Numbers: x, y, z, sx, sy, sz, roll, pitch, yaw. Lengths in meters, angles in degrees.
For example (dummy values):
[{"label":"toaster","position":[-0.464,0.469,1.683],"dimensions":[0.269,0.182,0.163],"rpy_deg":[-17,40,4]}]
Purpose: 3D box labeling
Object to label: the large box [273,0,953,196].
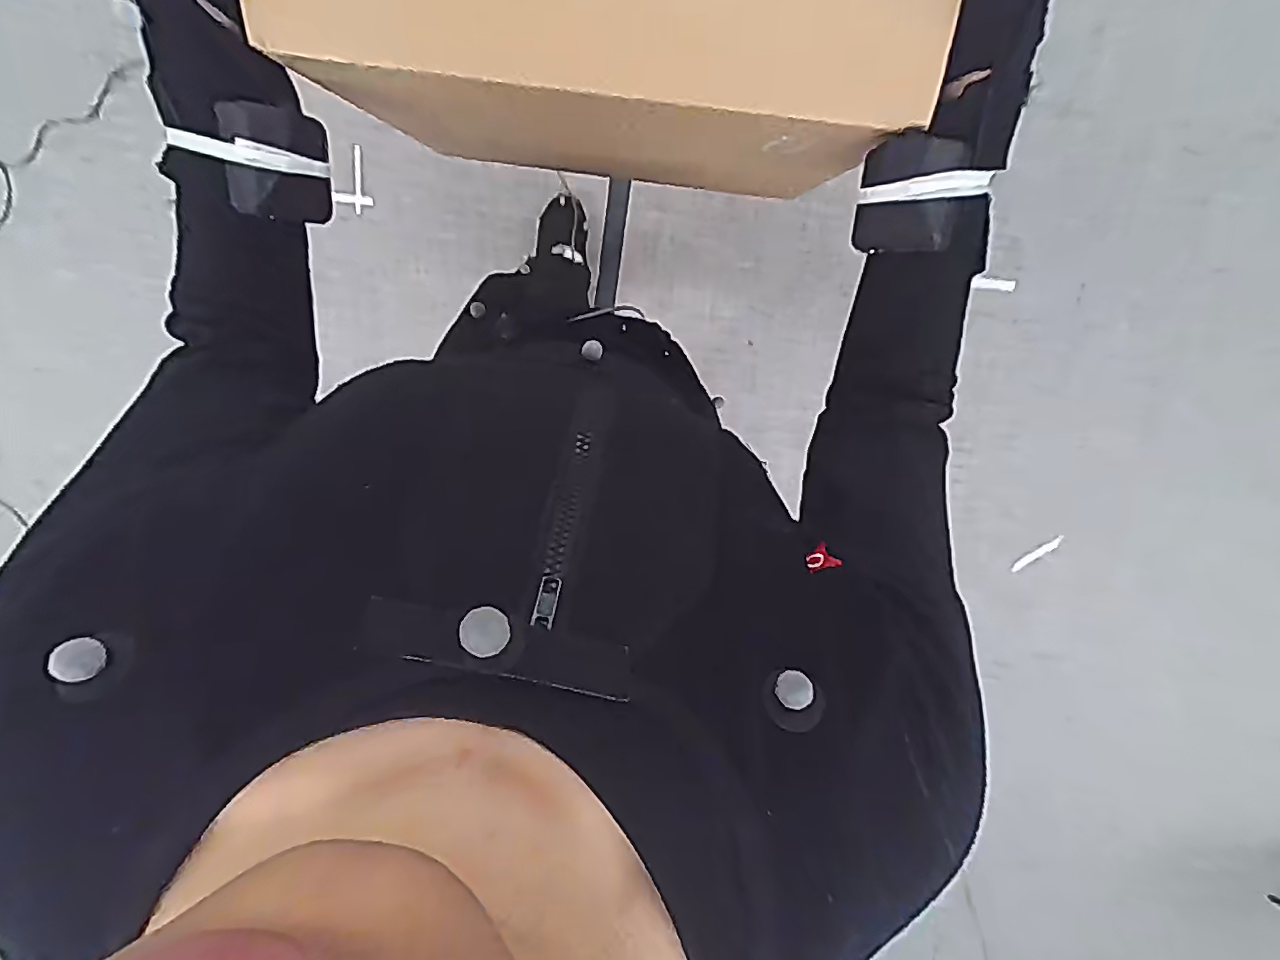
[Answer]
[{"label":"large box","position":[-0.007,-0.428,0.418],"dimensions":[0.408,0.320,0.320],"rpy_deg":[6,112,-2]}]
